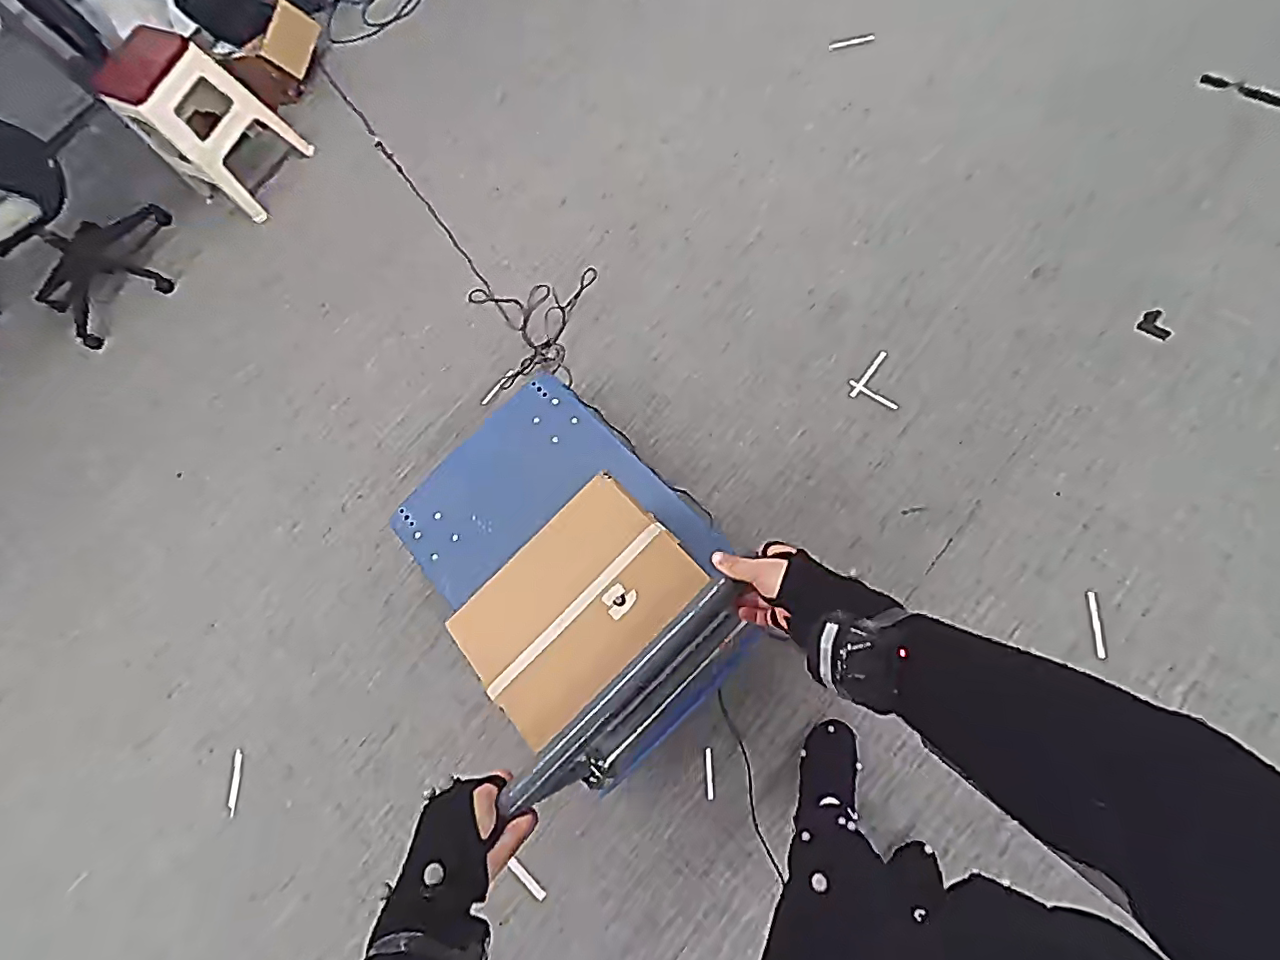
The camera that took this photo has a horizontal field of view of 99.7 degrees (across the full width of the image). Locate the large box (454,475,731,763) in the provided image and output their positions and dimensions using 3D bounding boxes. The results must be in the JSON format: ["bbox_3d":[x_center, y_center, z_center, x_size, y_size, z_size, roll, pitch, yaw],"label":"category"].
[{"bbox_3d":[-0.072,0.271,1.079,0.408,0.320,0.320,-45,69,-4],"label":"large box"}]
